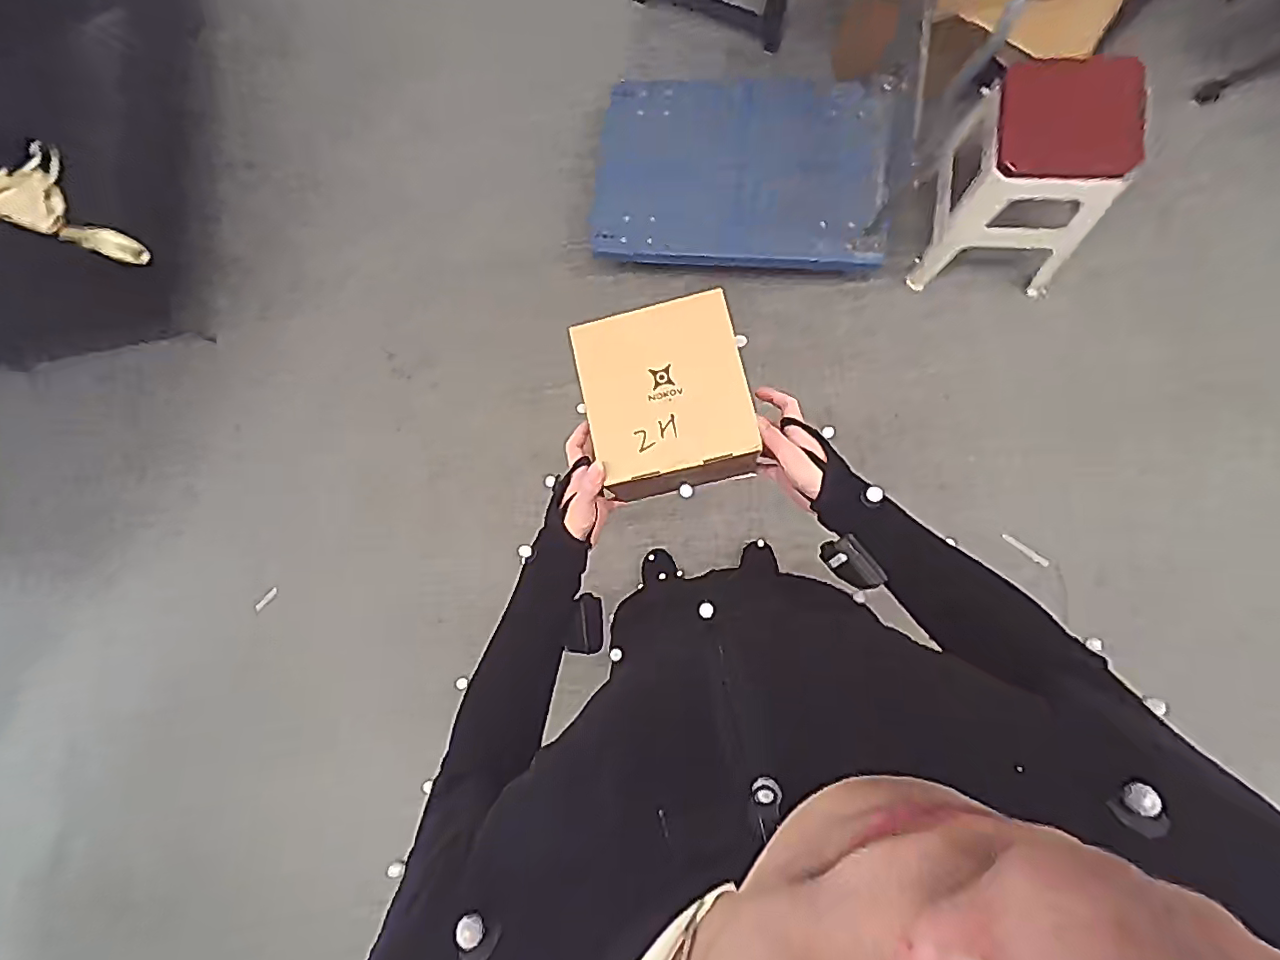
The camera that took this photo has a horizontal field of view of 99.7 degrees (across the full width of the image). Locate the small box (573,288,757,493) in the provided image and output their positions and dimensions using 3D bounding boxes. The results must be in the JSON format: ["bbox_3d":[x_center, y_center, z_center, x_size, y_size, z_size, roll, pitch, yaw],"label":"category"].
[{"bbox_3d":[0.030,-0.091,0.634,0.168,0.176,0.179,-12,82,5],"label":"small box"}]
